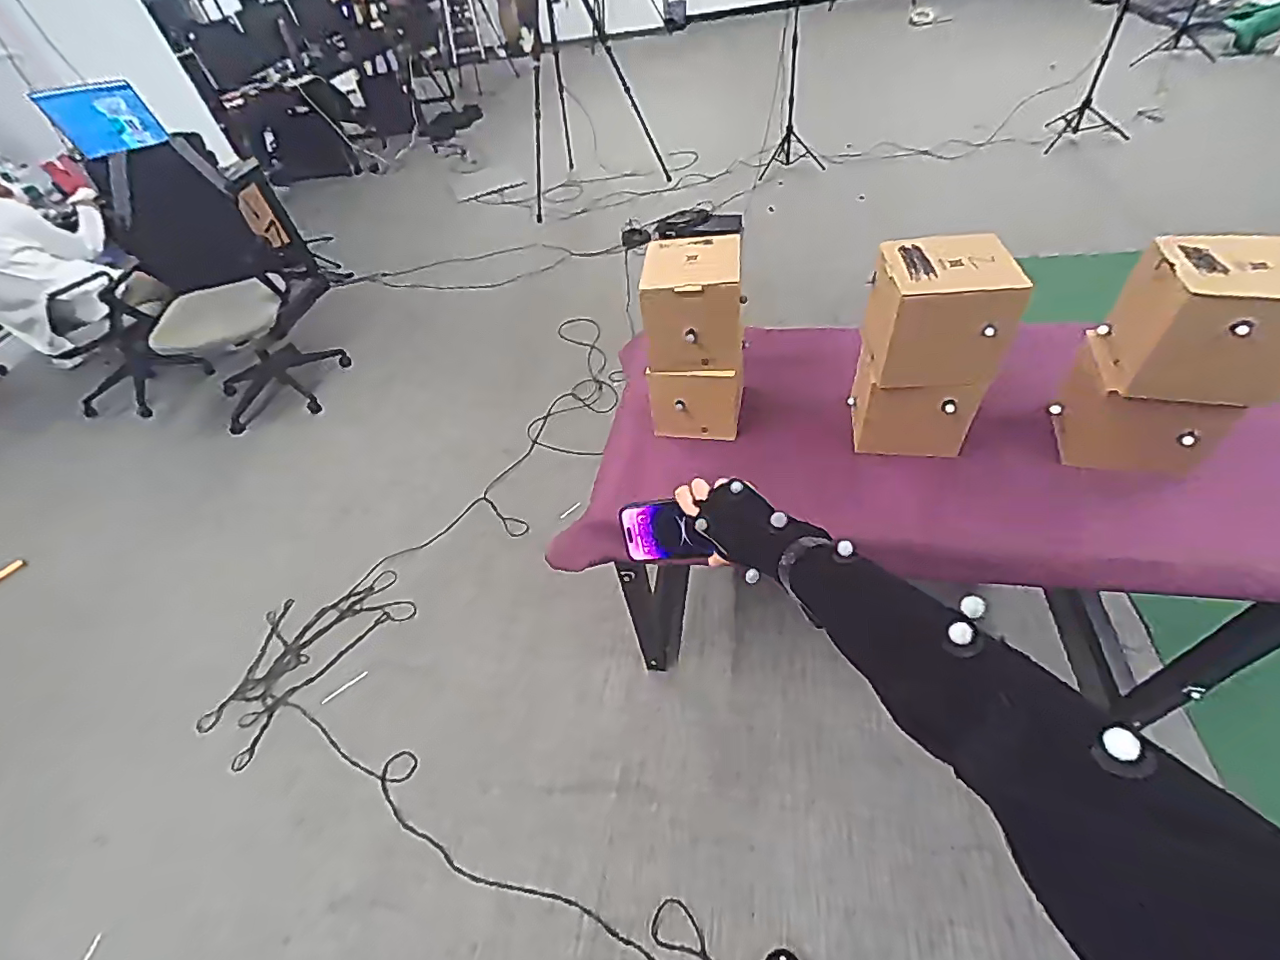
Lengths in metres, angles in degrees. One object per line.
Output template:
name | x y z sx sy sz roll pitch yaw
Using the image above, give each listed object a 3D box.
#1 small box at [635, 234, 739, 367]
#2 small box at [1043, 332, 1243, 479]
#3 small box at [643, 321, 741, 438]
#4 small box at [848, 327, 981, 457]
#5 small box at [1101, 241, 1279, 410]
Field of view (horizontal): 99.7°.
small box | 0.093 -0.317 0.976 0.168 0.176 0.179 1 50 10
small box | 0.813 -0.122 0.898 0.179 0.176 0.168 9 51 18
small box | 0.113 -0.203 1.093 0.168 0.176 0.179 5 50 14
small box | 0.486 -0.159 0.986 0.179 0.176 0.168 4 49 14
small box | 0.797 -0.217 0.765 0.179 0.176 0.168 9 51 17
